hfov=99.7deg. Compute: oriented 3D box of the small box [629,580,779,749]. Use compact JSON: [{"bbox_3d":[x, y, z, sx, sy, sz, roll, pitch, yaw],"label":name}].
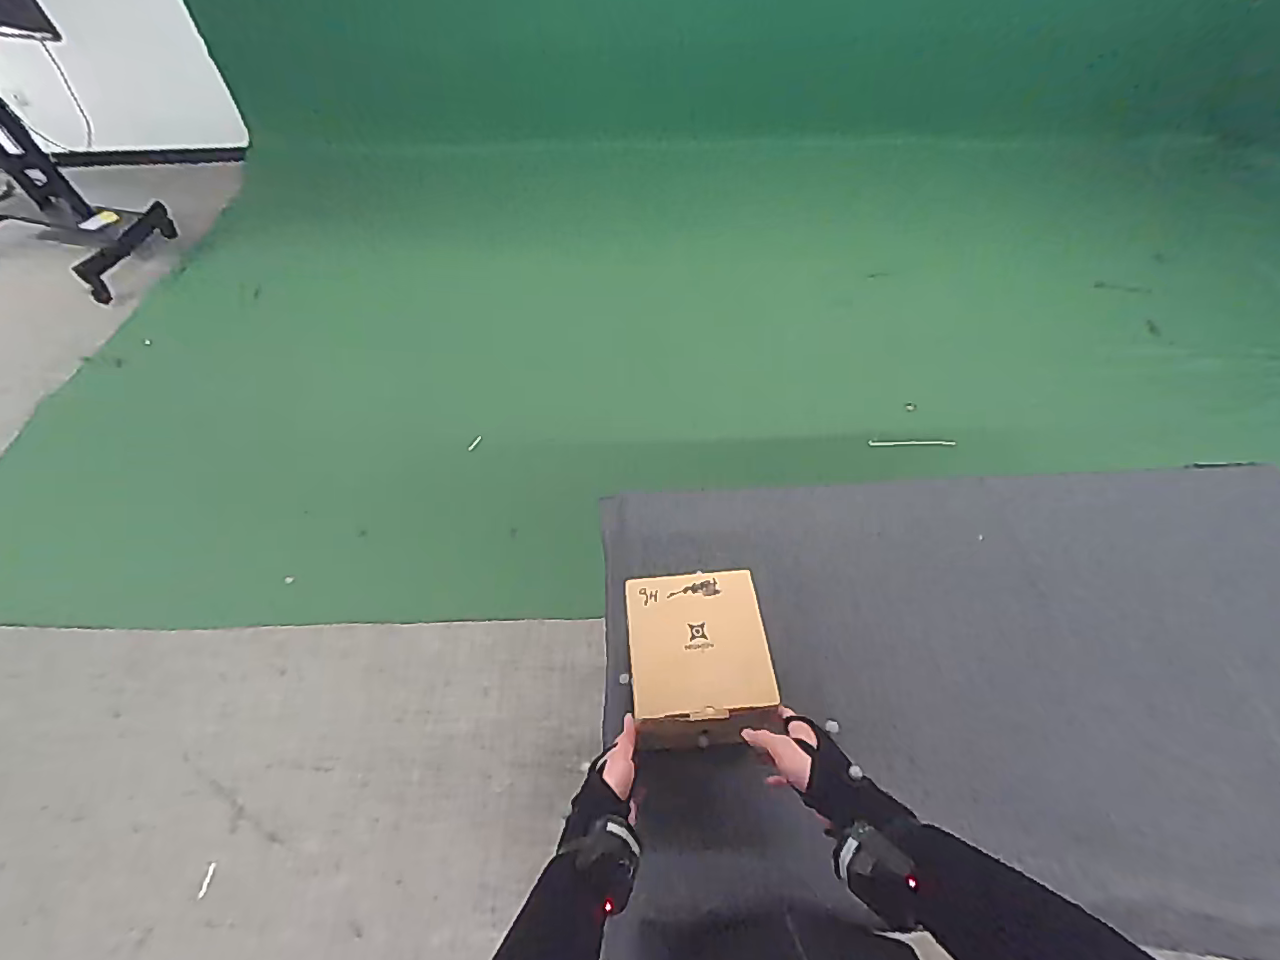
[{"bbox_3d":[0.074,0.254,0.727,0.168,0.176,0.179,-4,54,-3],"label":"small box"}]
